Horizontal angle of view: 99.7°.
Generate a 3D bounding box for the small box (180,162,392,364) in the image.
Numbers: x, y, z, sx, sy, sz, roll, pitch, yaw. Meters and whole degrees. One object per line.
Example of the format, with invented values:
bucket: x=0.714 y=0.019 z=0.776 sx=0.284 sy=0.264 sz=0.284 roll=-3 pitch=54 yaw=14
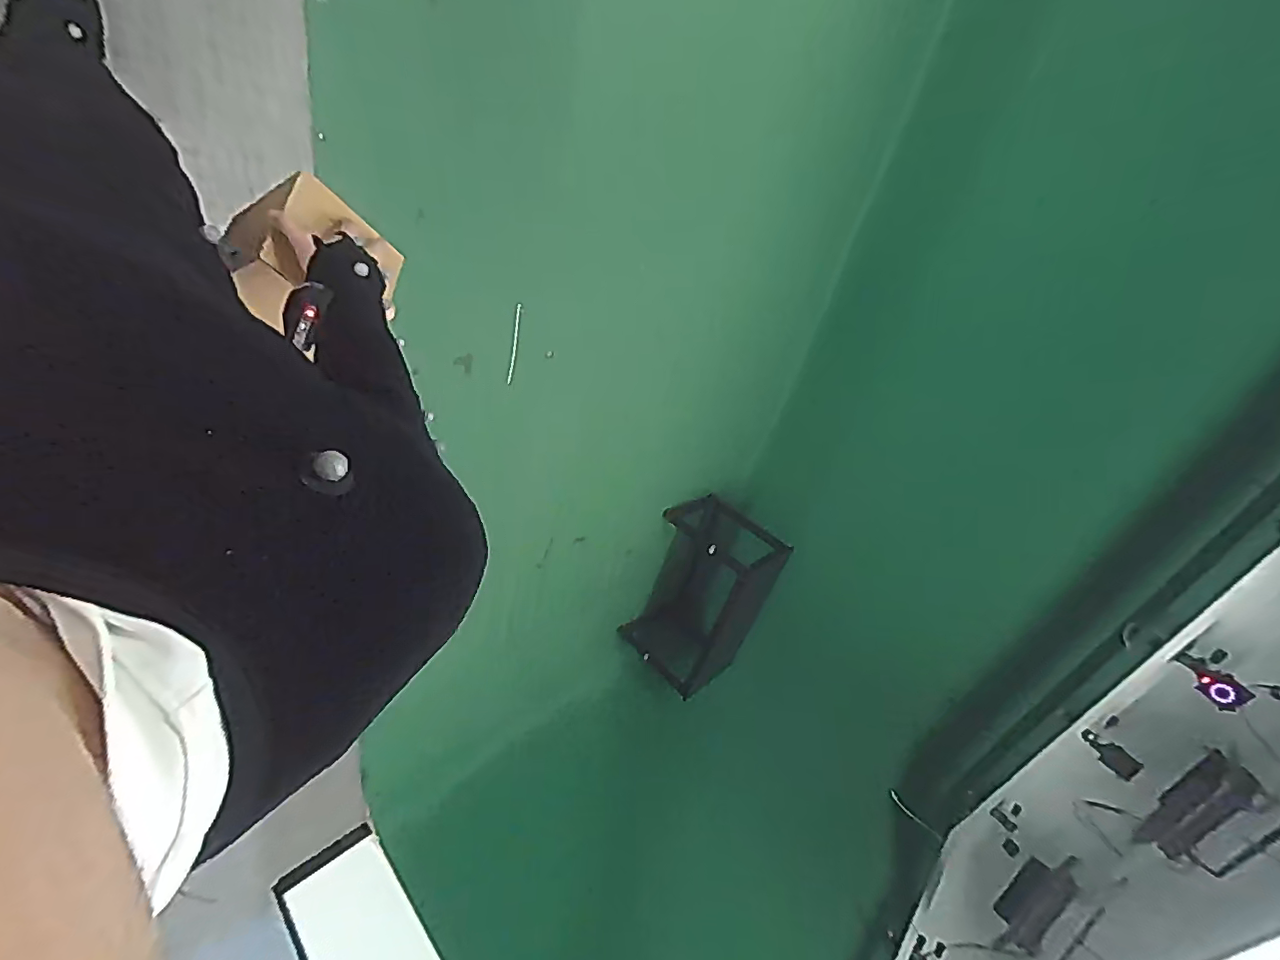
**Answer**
small box: x=-0.491 y=-0.290 z=0.759 sx=0.168 sy=0.176 sz=0.179 roll=44 pitch=41 yaw=-52
